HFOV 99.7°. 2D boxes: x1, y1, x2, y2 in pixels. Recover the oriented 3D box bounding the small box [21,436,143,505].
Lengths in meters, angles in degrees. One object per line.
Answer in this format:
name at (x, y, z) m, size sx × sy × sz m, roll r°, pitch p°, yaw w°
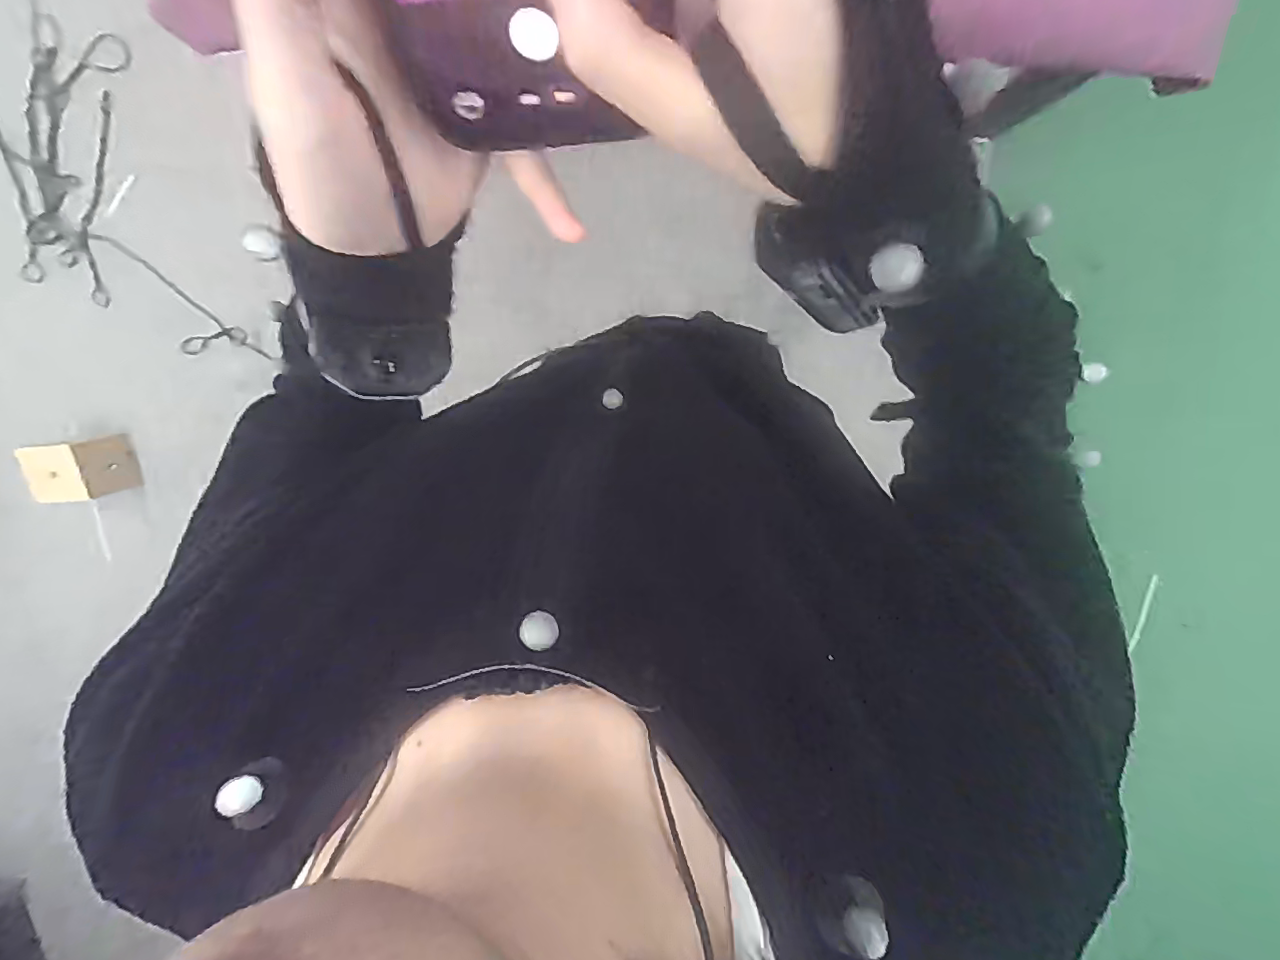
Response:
small box at (-1.627, -0.033, 1.594) m, size 0.179 × 0.176 × 0.168 m, roll -2°, pitch 106°, yaw 7°
